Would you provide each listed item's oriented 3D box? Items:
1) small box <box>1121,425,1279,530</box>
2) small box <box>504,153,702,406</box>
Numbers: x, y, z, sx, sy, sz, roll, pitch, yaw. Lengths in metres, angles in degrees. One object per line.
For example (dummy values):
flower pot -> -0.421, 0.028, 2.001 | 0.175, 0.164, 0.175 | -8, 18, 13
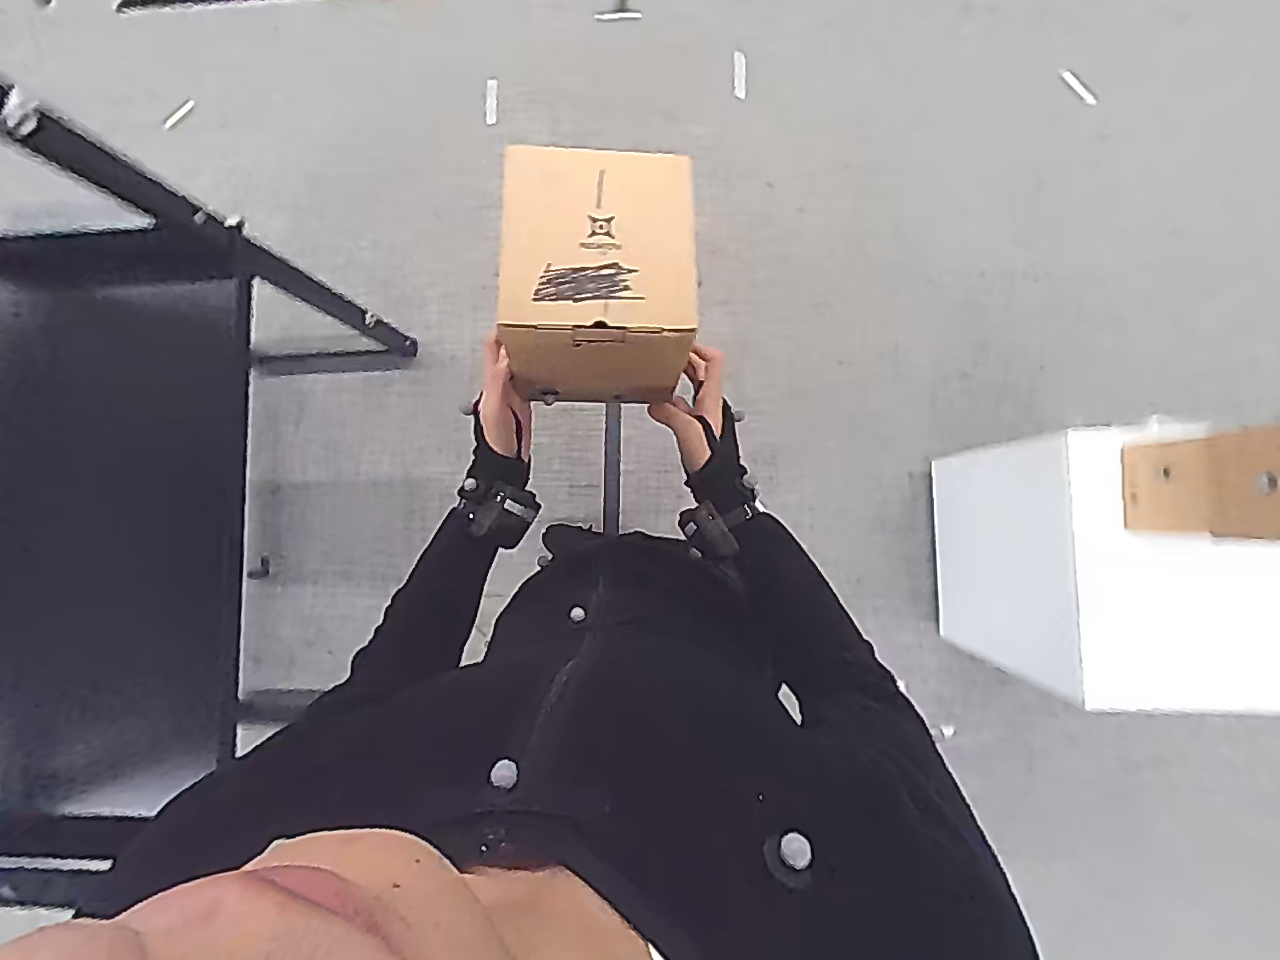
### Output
small box -> 0.964, 0.001, 0.916 | 0.179, 0.176, 0.168 | -1, 87, 3
small box -> -0.035, -0.182, 0.537 | 0.168, 0.176, 0.179 | 1, 76, -6
